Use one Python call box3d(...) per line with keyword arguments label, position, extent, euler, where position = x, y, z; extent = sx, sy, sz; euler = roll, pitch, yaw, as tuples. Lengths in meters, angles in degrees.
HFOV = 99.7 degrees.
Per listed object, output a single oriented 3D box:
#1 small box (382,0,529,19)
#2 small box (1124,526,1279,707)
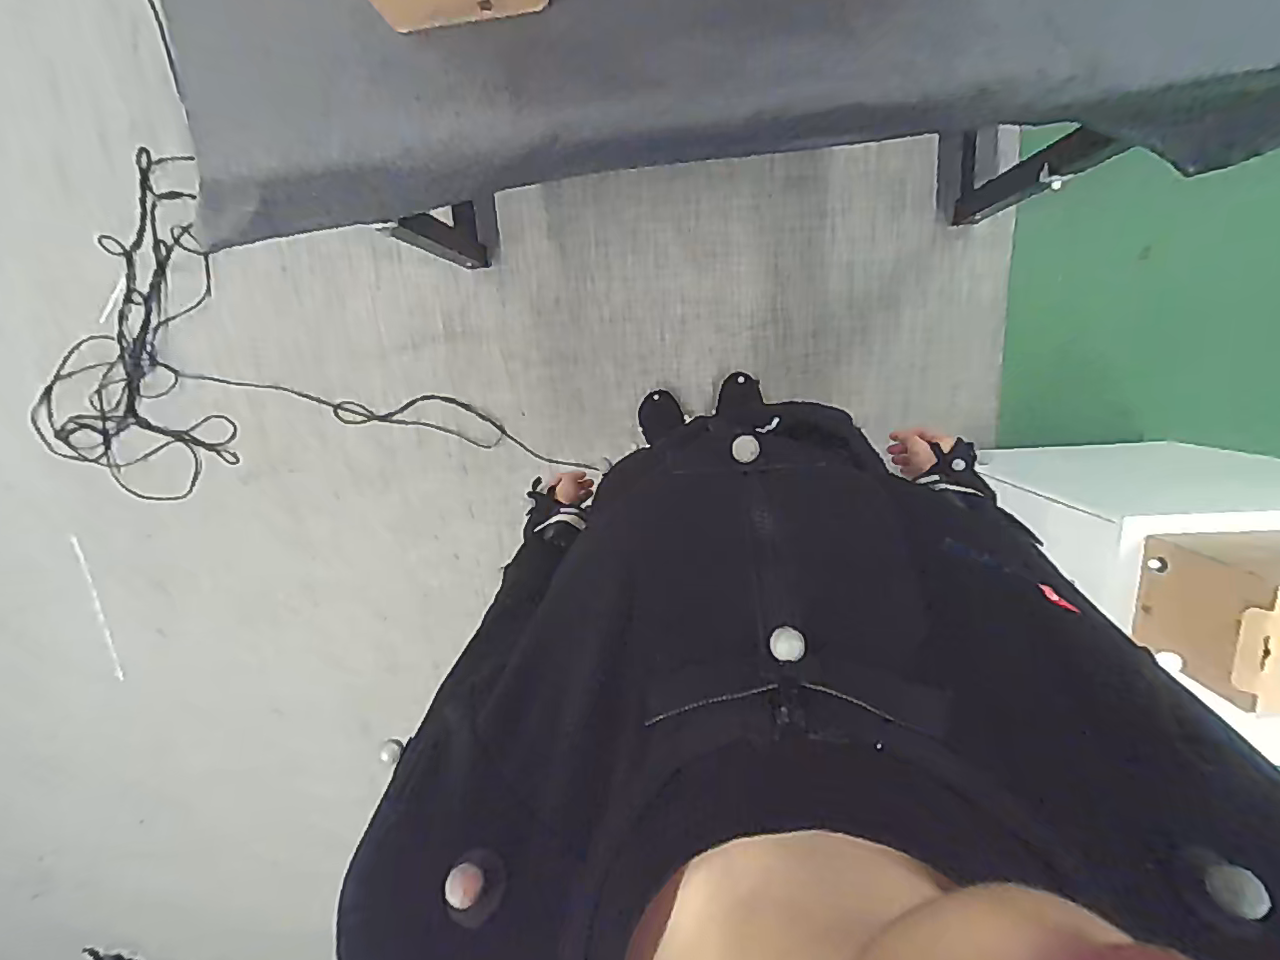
box3d(label="small box", position=(-0.189, -0.541, 0.448), extent=(0.168, 0.176, 0.179), euler=(-4, 102, 4))
box3d(label="small box", position=(0.767, 0.161, 0.678), extent=(0.179, 0.176, 0.168), euler=(-3, 103, 3))
